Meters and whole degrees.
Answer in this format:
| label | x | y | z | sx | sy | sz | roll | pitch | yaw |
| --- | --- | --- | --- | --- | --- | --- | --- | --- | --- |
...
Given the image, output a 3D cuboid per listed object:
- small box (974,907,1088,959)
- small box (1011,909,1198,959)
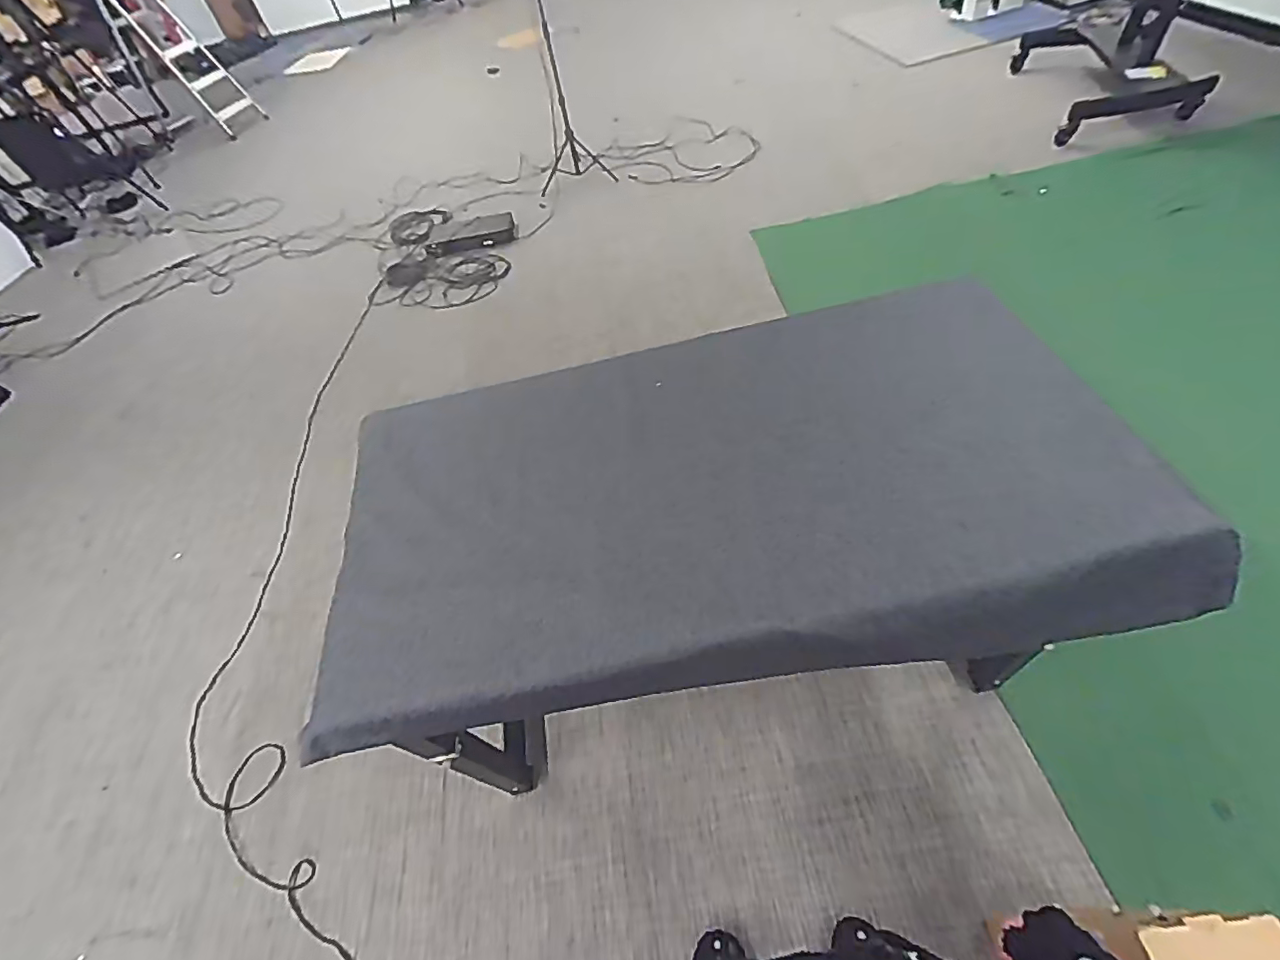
| label | x | y | z | sx | sy | sz | roll | pitch | yaw |
| --- | --- | --- | --- | --- | --- | --- | --- | --- | --- |
| small box | 0.720 | 0.846 | 0.928 | 0.179 | 0.176 | 0.168 | -10 | 51 | 5 |
| small box | 0.701 | 0.746 | 0.798 | 0.179 | 0.176 | 0.168 | -9 | 51 | 4 |
